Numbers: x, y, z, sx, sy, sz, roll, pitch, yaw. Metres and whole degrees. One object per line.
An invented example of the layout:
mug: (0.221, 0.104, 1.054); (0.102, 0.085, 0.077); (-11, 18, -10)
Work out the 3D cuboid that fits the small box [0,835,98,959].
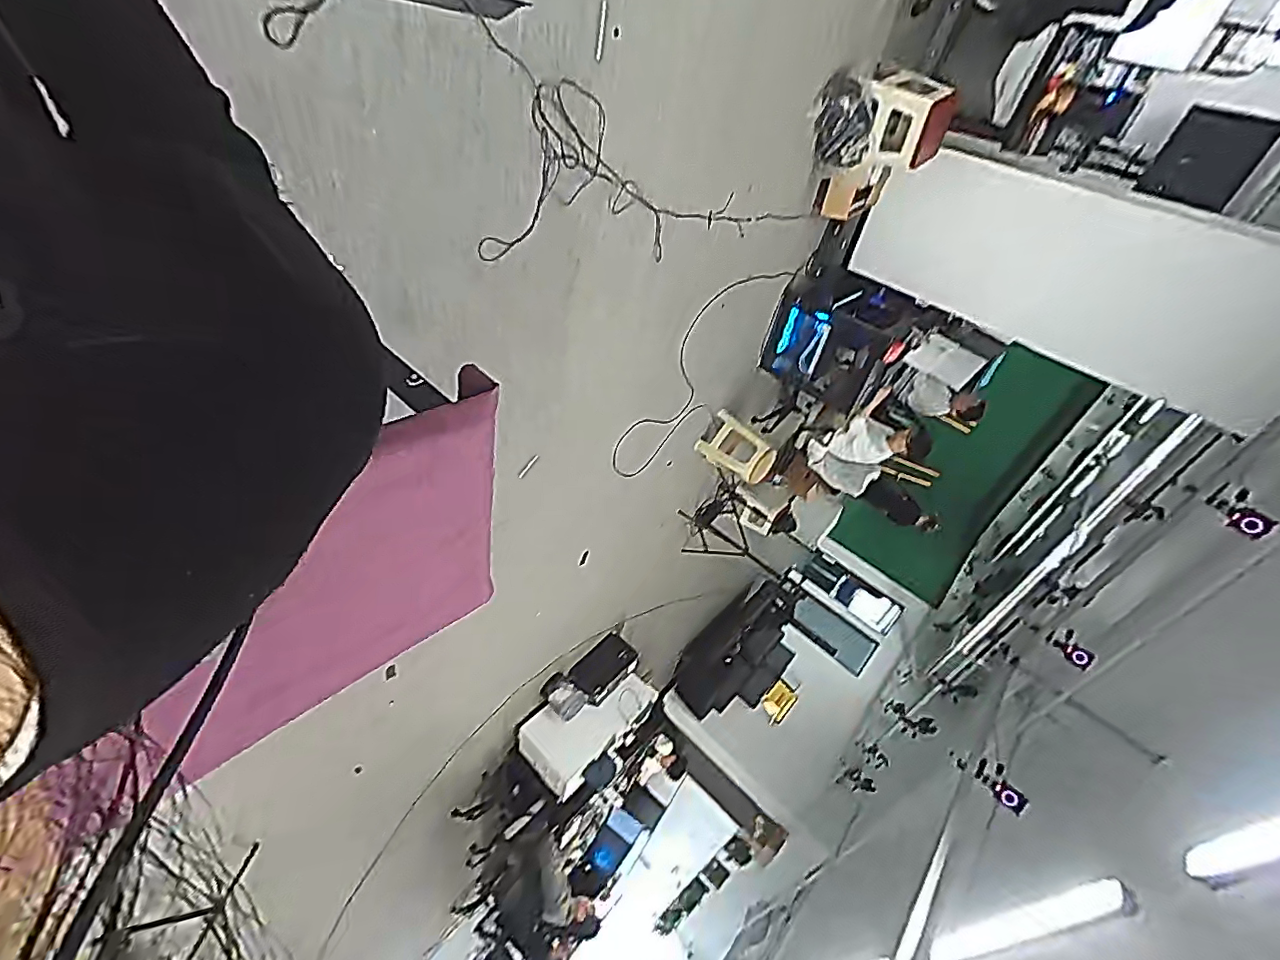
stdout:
small box: (-0.750, 0.541, 0.587); (0.179, 0.176, 0.168); (-34, 149, -36)
